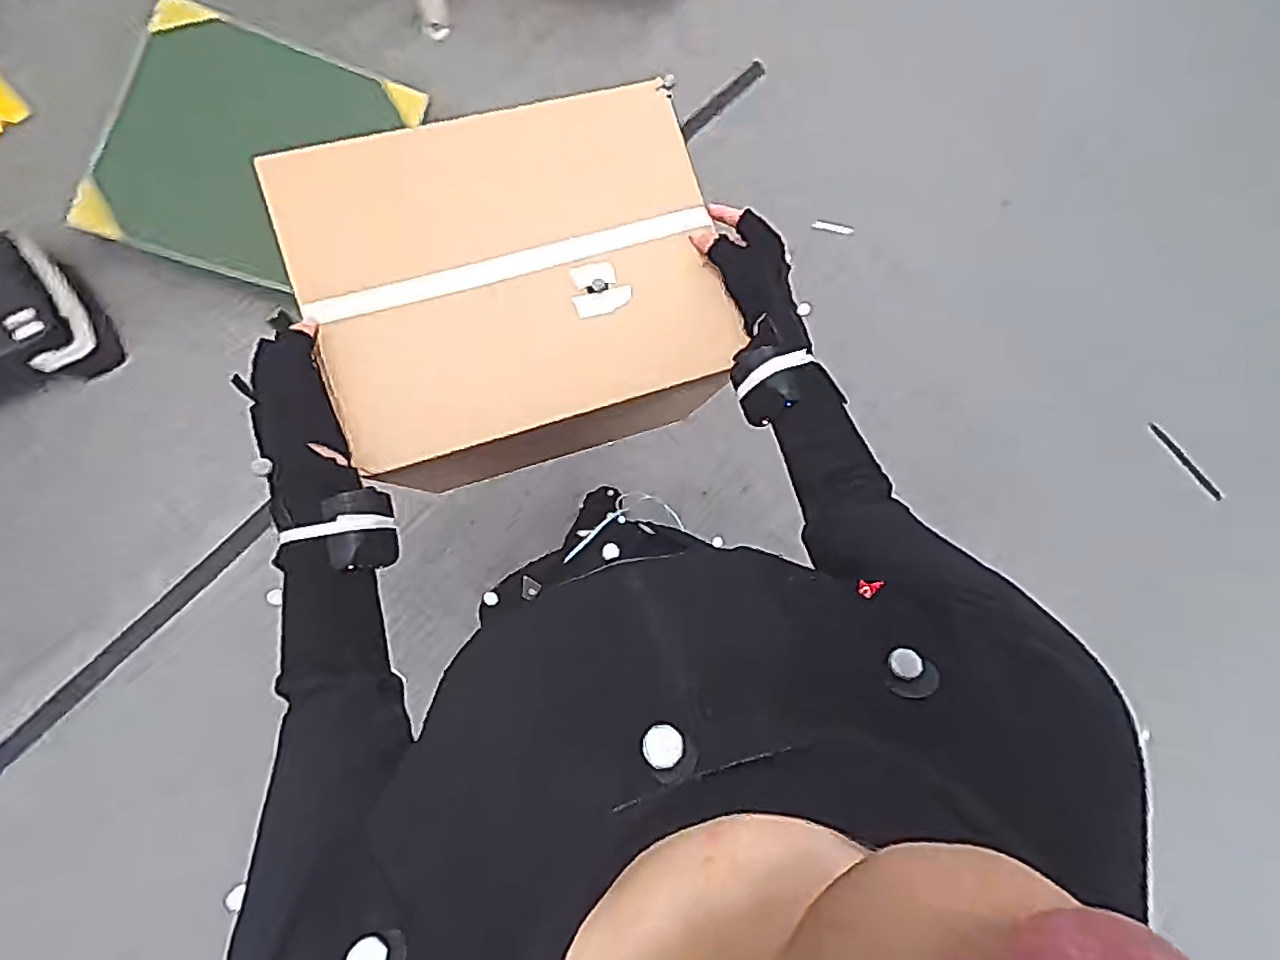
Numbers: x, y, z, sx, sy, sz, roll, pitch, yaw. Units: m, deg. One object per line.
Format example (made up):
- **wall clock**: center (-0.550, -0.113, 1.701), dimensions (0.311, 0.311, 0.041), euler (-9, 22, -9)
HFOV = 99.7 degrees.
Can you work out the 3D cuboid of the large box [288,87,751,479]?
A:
- **large box**: center (-0.134, -0.212, 0.694), dimensions (0.408, 0.320, 0.320), euler (-17, 90, -10)
